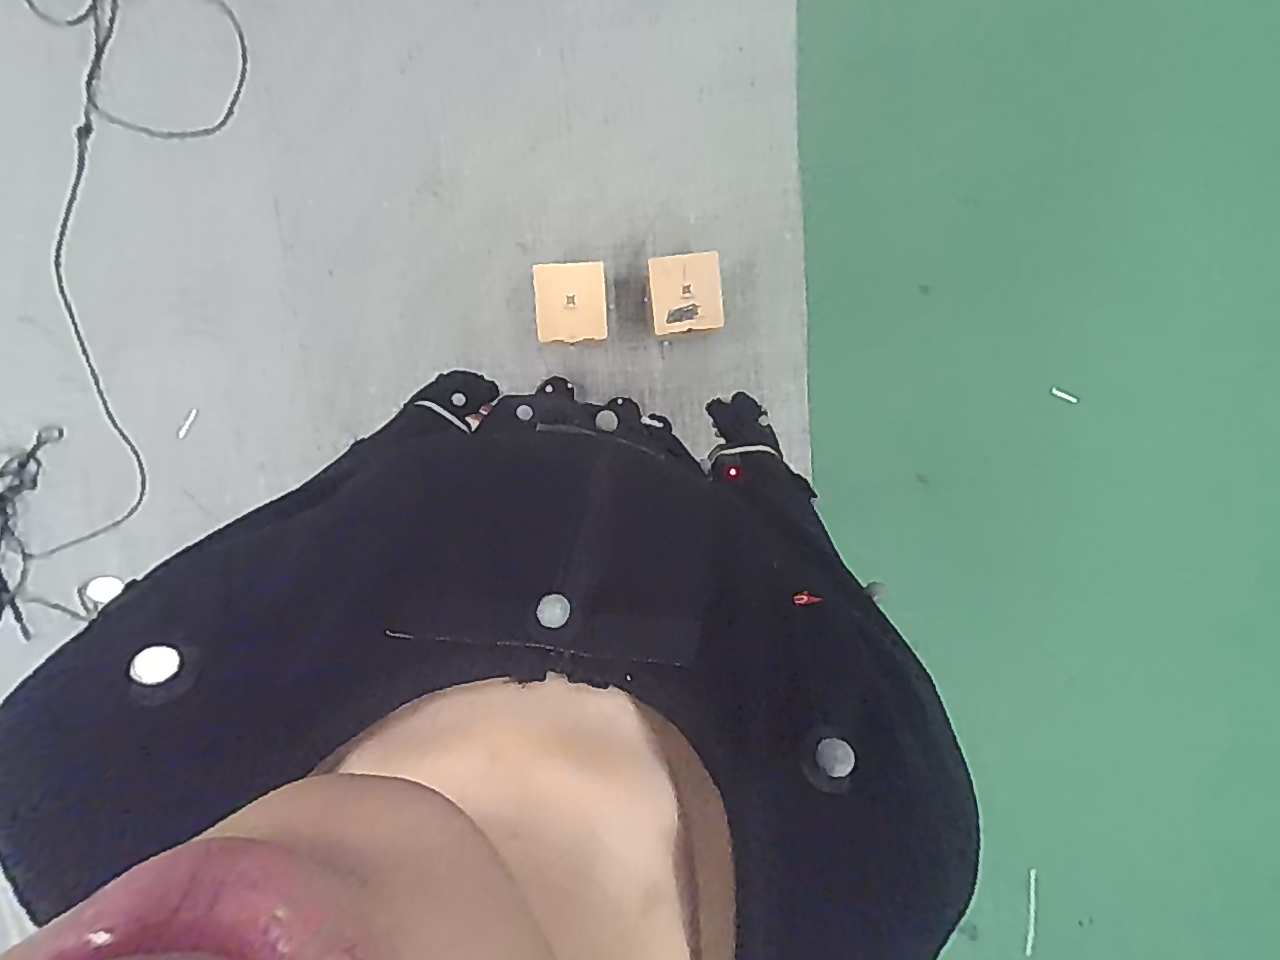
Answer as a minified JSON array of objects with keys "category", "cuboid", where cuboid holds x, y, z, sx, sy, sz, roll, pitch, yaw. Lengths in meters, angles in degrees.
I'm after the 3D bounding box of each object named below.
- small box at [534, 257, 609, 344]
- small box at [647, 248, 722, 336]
[{"category":"small box","cuboid":[-0.163,-0.435,1.330,0.168,0.176,0.179,-3,100,0]},{"category":"small box","cuboid":[0.105,-0.454,1.329,0.168,0.176,0.179,-6,99,0]}]
